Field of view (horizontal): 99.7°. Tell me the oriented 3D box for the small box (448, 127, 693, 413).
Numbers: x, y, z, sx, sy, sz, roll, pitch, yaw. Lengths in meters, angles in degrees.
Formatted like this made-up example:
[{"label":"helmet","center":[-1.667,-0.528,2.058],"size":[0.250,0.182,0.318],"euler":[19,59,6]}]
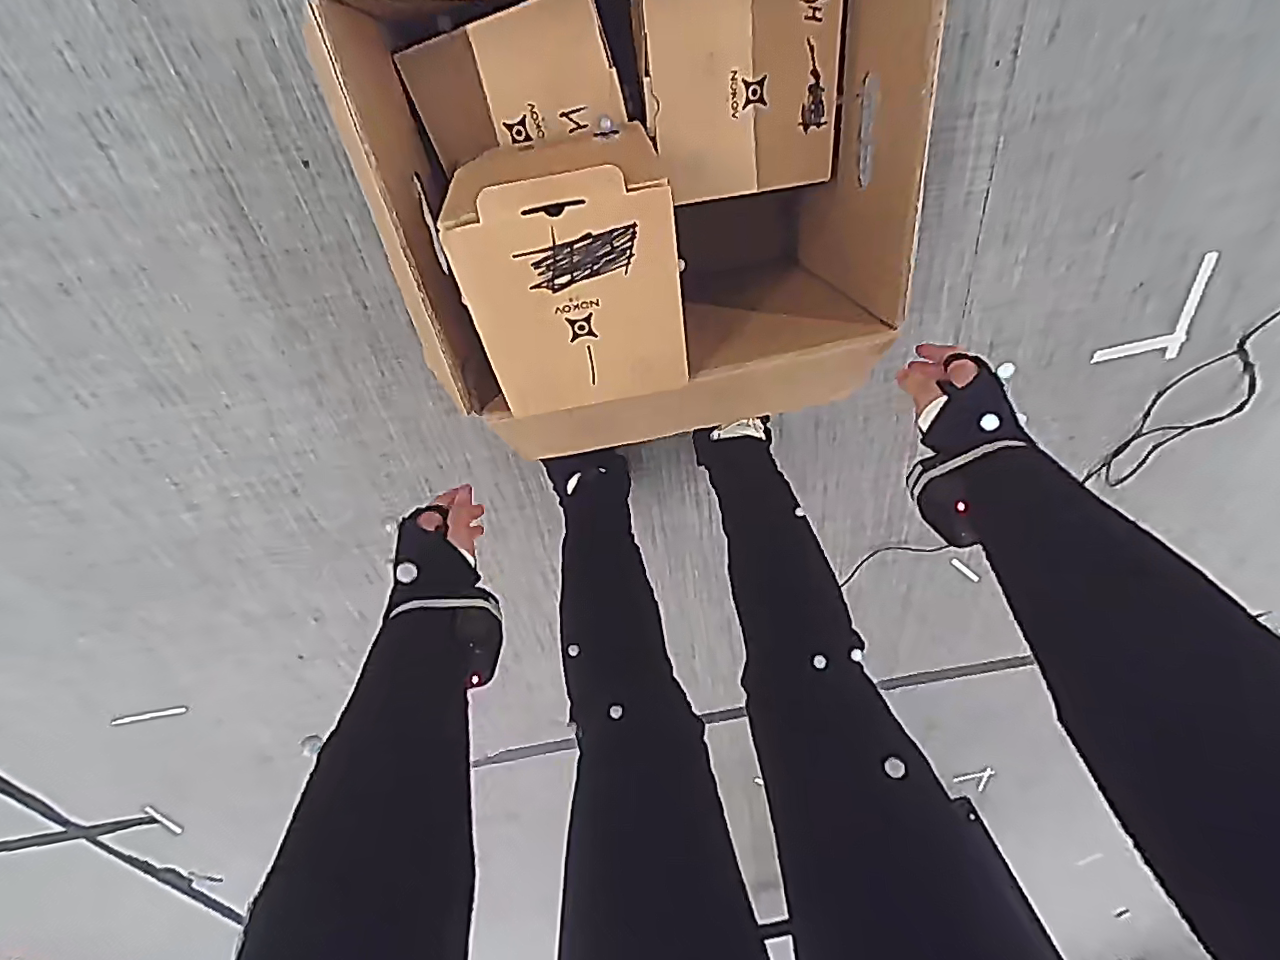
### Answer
[{"label":"small box","center":[-0.053,-0.190,0.479],"size":[0.168,0.176,0.179],"euler":[-10,137,1]}]
